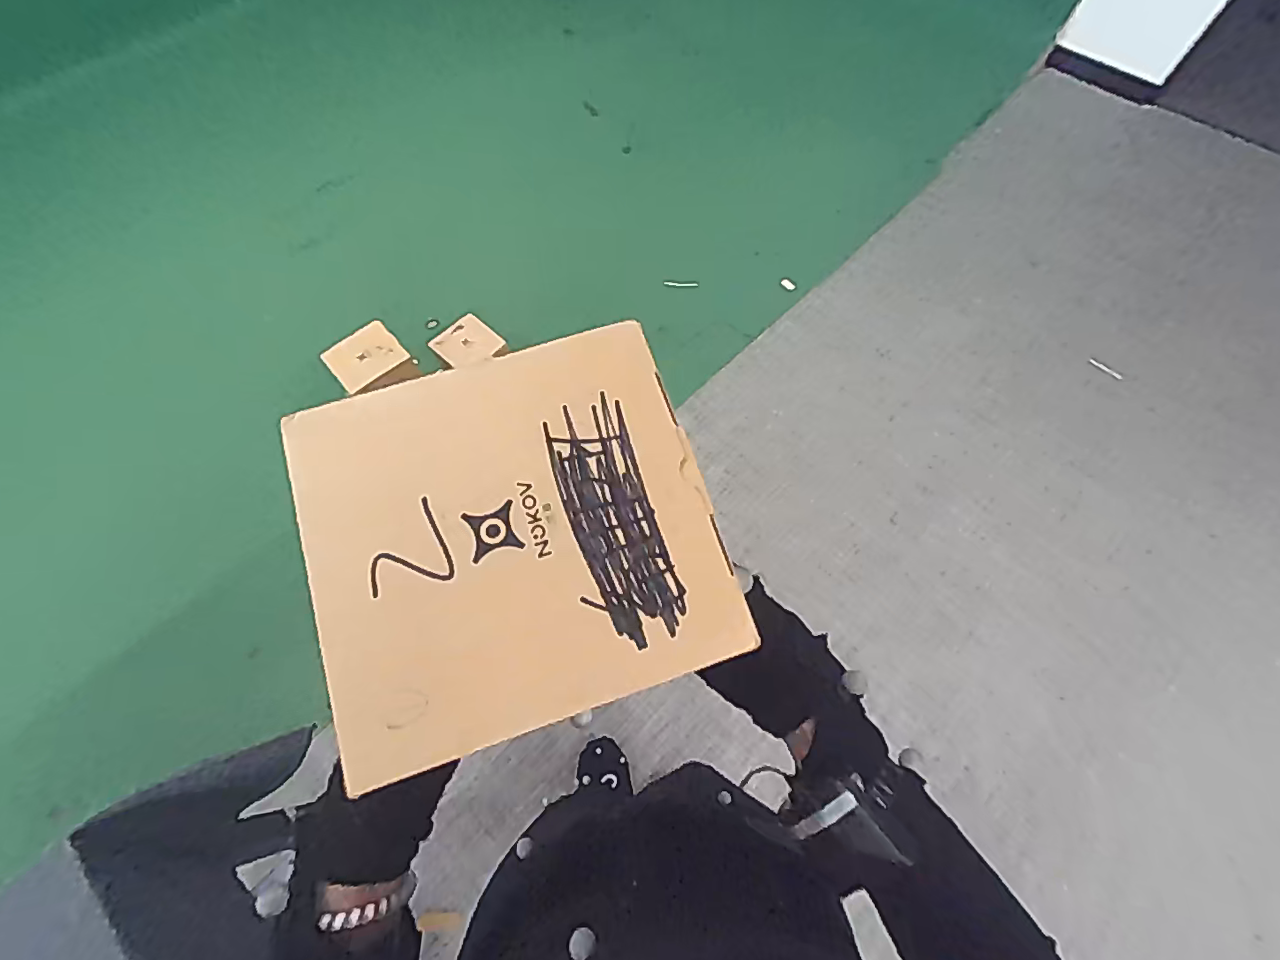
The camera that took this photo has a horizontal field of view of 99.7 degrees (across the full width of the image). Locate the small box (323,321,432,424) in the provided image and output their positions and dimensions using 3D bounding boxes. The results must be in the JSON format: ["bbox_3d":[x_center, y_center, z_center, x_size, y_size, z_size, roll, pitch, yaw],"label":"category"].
[{"bbox_3d":[-0.695,-0.281,1.450,0.179,0.176,0.168,-39,70,-16],"label":"small box"}]
